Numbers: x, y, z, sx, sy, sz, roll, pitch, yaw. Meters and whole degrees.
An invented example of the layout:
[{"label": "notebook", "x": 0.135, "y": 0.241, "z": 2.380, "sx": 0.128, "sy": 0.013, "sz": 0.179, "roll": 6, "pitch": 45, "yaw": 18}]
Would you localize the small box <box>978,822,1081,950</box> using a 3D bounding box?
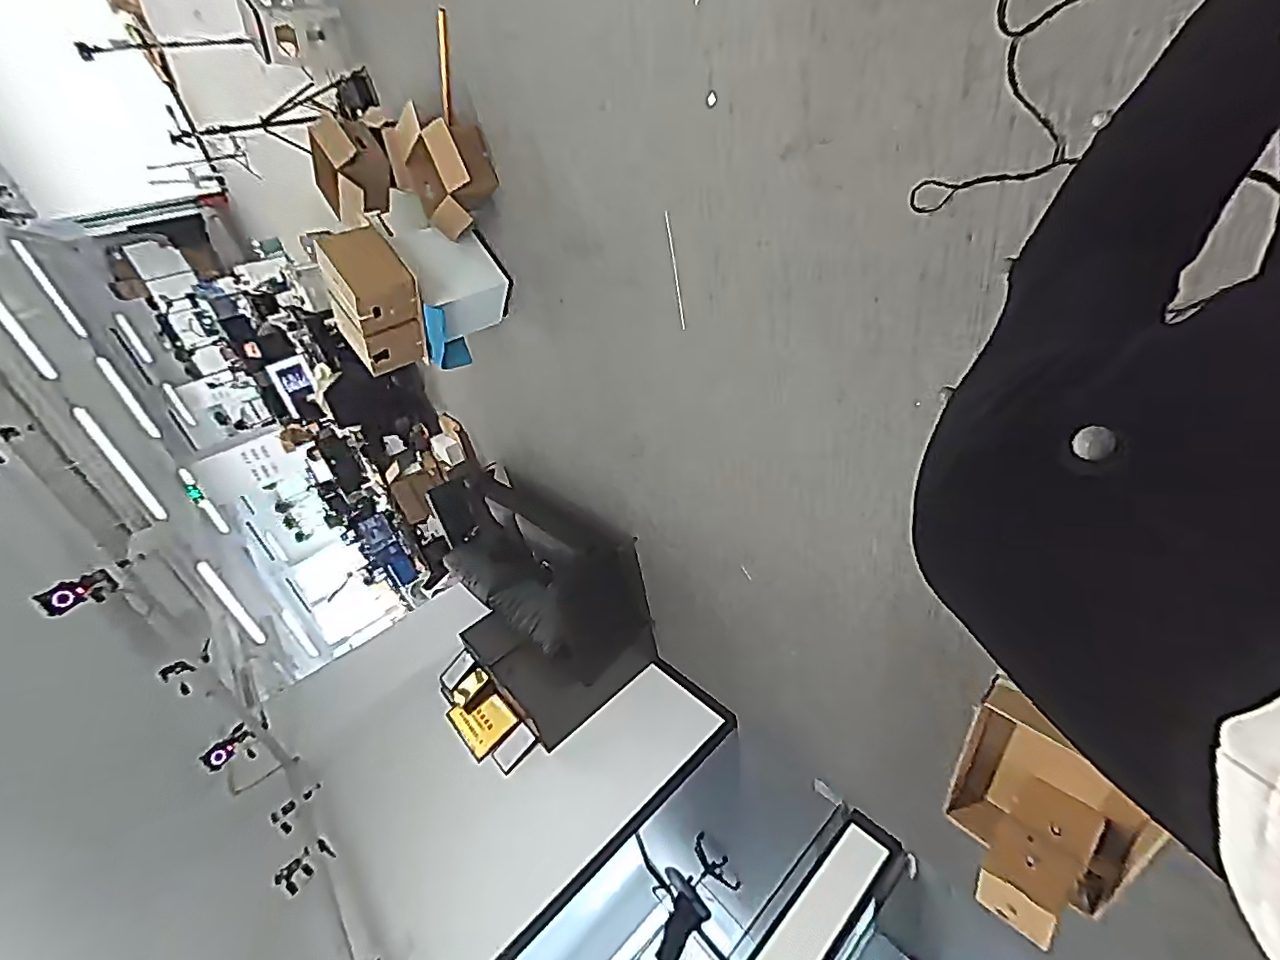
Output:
[{"label": "small box", "x": 1.012, "y": 1.043, "z": 1.405, "sx": 0.168, "sy": 0.176, "sz": 0.179, "roll": 23, "pitch": 134, "yaw": 47}]
